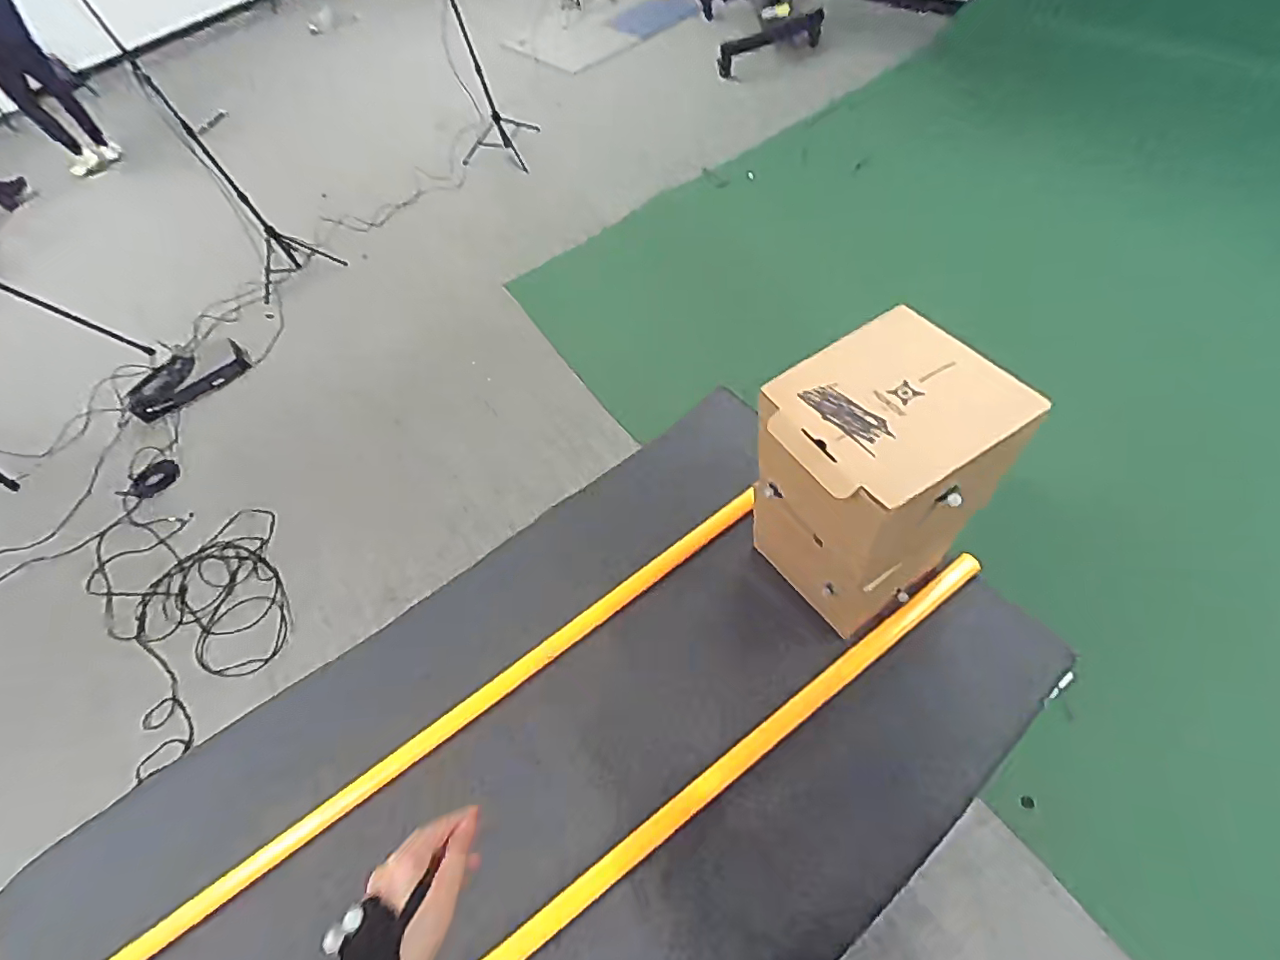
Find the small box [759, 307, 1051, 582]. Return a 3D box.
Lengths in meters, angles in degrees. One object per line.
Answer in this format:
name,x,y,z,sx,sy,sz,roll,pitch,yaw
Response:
small box,0.237,-0.028,0.534,0.179,0.176,0.168,-30,57,-9
